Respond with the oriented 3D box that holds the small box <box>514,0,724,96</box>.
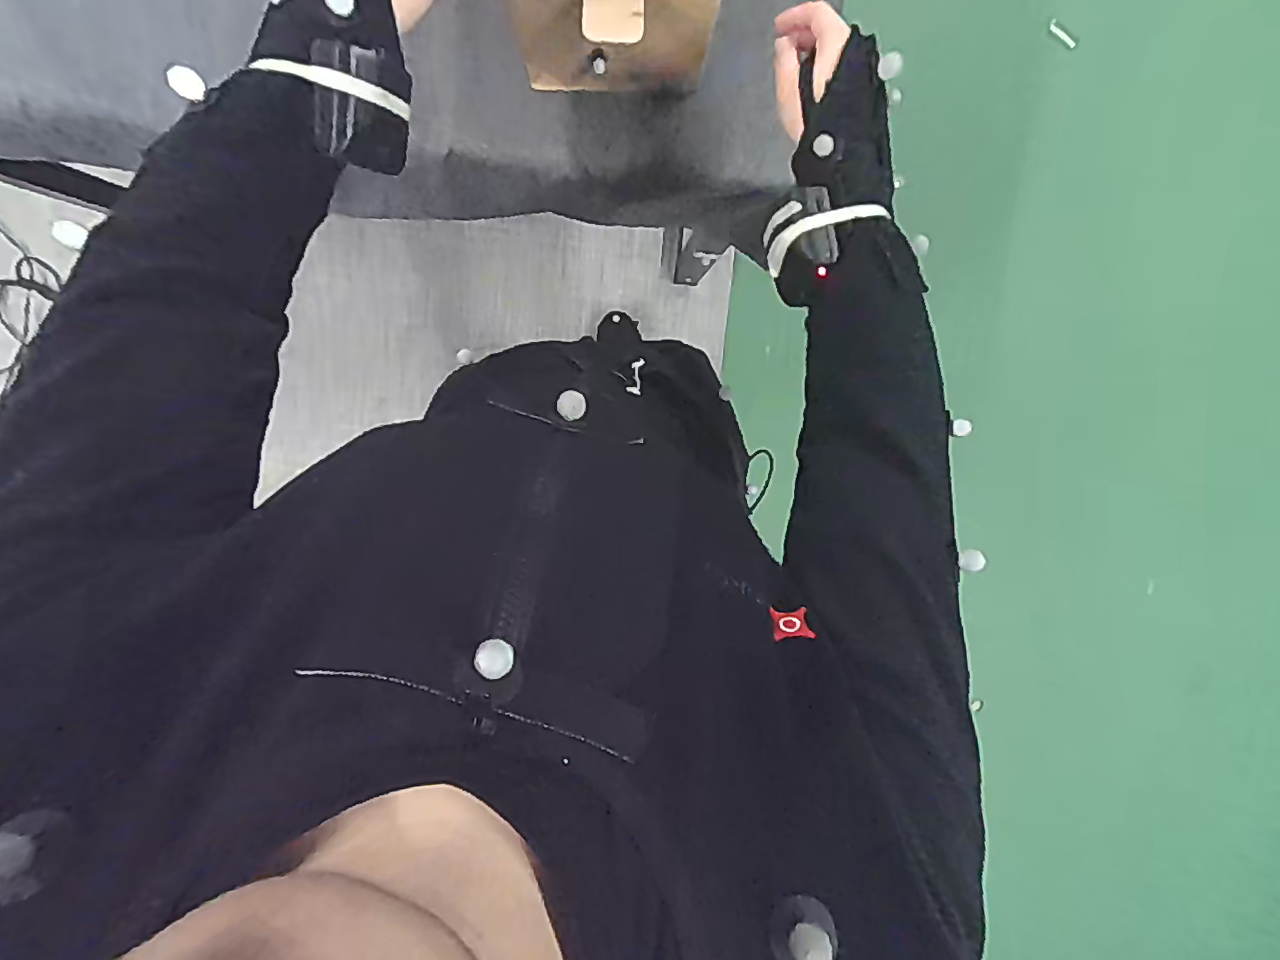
[{"bbox_3d":[-0.021,-0.454,0.439,0.168,0.176,0.179,-1,101,-3],"label":"small box"}]
